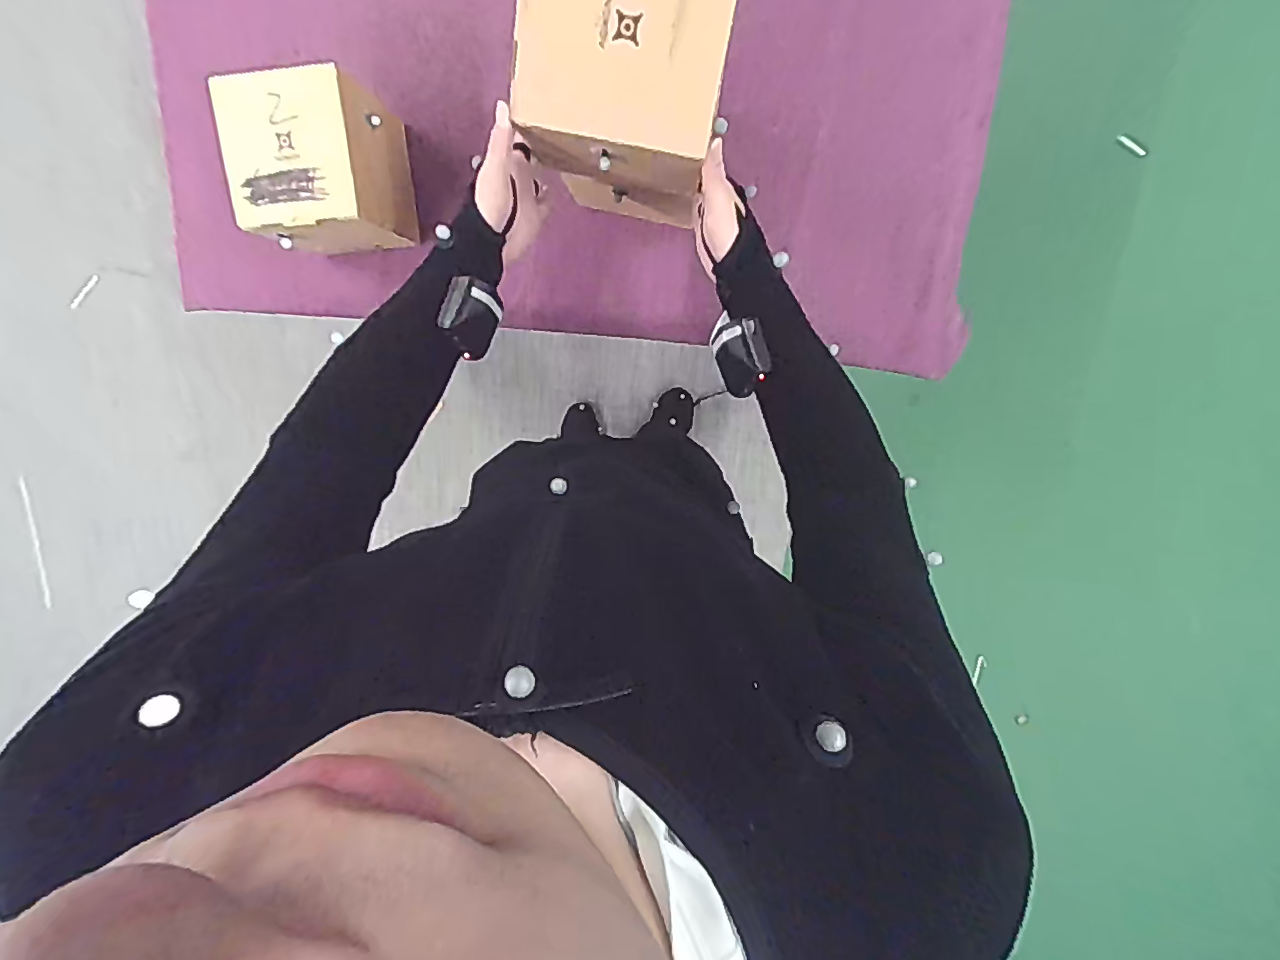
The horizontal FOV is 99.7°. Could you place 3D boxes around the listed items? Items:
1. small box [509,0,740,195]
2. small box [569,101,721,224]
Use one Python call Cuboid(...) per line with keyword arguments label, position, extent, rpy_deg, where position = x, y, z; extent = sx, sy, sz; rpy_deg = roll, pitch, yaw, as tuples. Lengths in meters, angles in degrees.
Cuboid(label="small box", position=(-0.008, -0.387, 0.515), extent=(0.179, 0.176, 0.168), rpy_deg=(11, 109, 0))
Cuboid(label="small box", position=(0.006, -0.453, 0.713), extent=(0.179, 0.176, 0.168), rpy_deg=(12, 104, 1))
